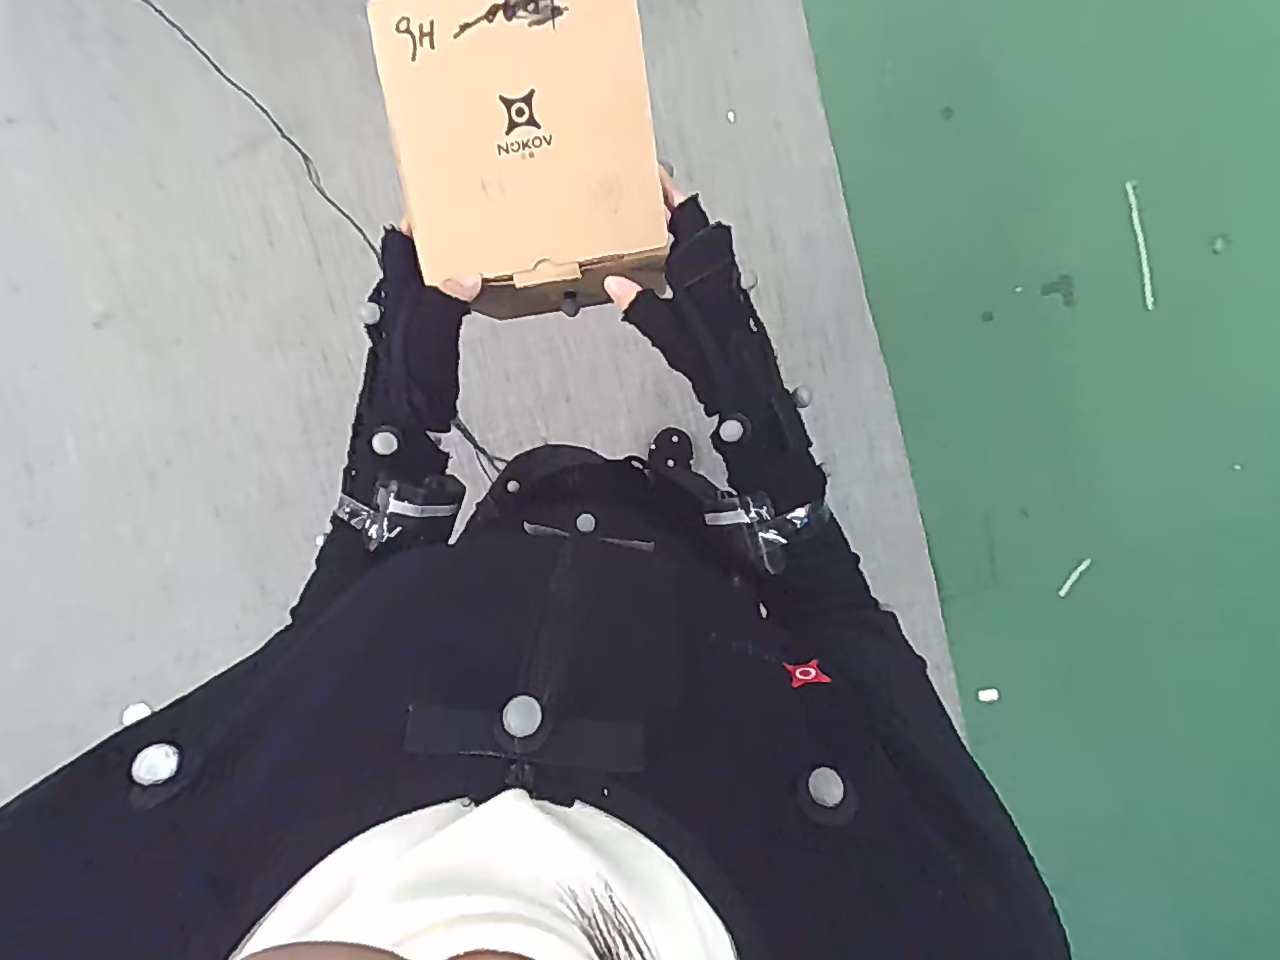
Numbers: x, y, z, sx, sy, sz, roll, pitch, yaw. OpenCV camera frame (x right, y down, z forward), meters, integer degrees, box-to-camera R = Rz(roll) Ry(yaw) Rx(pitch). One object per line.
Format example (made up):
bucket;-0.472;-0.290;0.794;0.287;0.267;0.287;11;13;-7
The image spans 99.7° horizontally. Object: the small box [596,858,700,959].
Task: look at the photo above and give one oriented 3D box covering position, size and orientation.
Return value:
small box;0.023;0.926;1.112;0.179;0.176;0.168;-16;93;3
